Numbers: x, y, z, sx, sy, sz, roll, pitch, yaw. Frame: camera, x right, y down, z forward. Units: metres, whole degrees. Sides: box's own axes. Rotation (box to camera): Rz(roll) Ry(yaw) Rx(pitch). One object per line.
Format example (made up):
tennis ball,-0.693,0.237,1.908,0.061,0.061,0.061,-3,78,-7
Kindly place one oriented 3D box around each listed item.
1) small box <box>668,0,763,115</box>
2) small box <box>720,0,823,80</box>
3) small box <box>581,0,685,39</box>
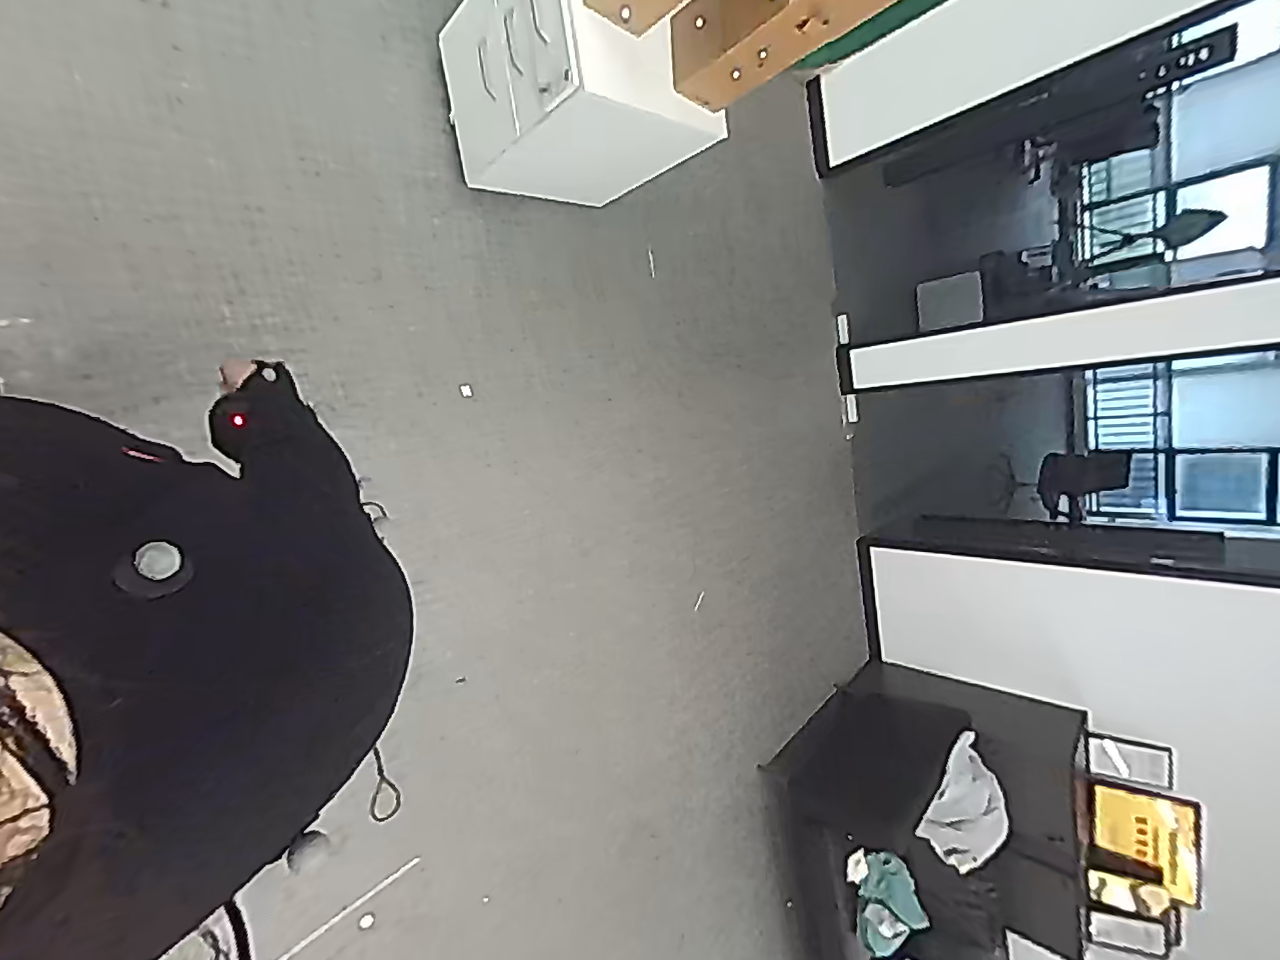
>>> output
small box,0.182,-1.051,1.329,0.168,0.176,0.179,-8,96,-43
small box,0.289,-1.054,1.208,0.168,0.176,0.179,-9,97,-43
small box,-0.022,-1.094,1.136,0.168,0.176,0.179,-10,99,-44
